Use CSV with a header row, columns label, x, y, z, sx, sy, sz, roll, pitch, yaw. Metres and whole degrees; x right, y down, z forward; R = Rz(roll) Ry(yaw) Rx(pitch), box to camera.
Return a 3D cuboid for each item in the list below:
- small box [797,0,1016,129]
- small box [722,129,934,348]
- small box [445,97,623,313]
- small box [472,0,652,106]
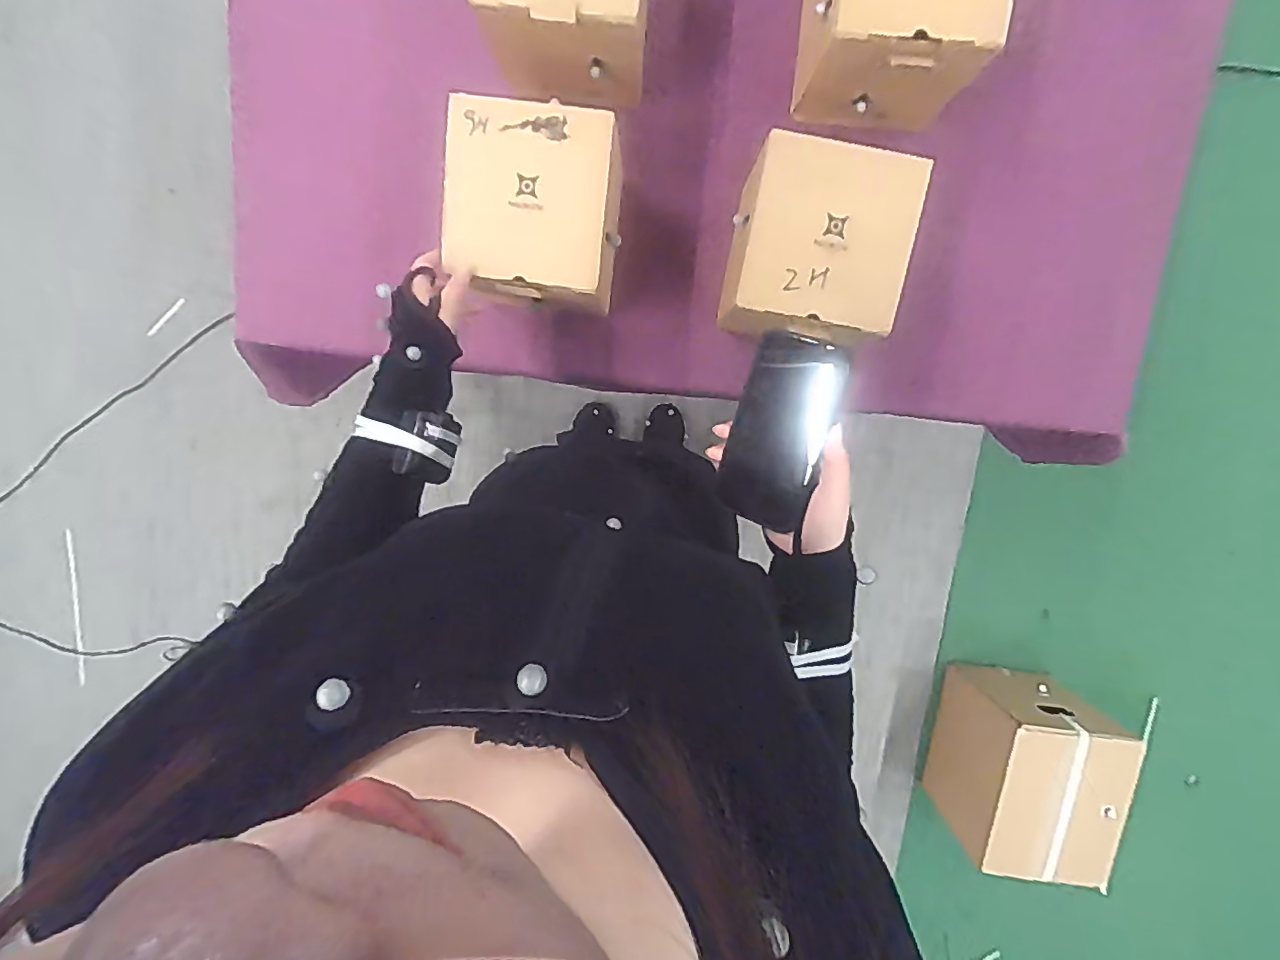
label,x,y,z,sx,sy,sz,roll,pitch,yaw
small box,0.278,-0.517,0.581,0.168,0.176,0.179,4,100,1
small box,0.197,-0.260,0.624,0.168,0.176,0.179,11,99,0
small box,-0.111,-0.298,0.625,0.168,0.176,0.179,7,100,0
small box,-0.071,-0.543,0.584,0.168,0.176,0.179,6,100,-1
